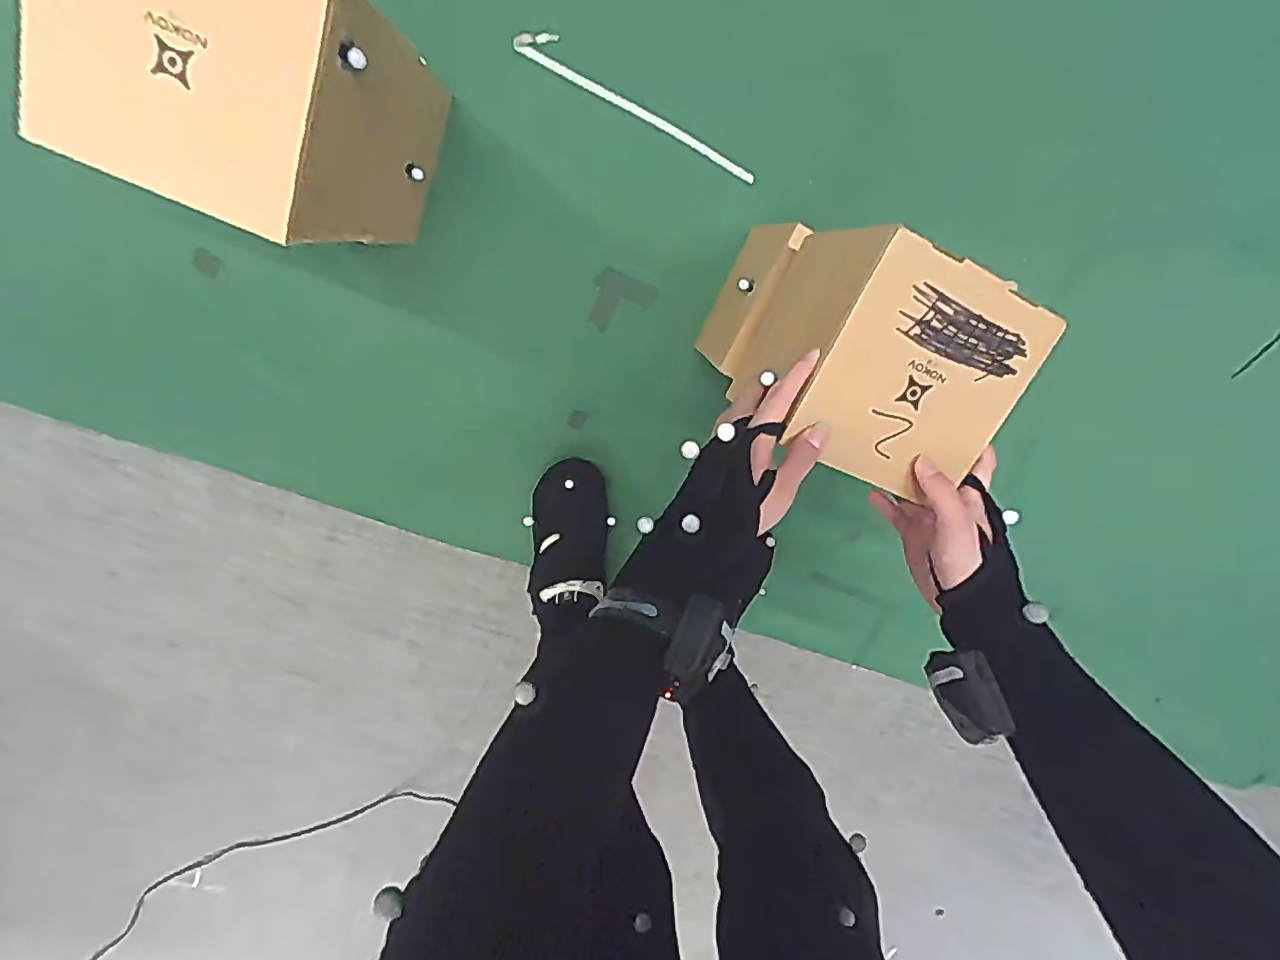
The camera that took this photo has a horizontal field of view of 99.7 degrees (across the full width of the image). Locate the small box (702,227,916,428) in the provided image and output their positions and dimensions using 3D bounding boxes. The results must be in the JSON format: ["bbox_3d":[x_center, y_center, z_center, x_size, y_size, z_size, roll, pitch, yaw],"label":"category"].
[{"bbox_3d":[0.194,-0.197,0.686,0.168,0.176,0.179,22,110,-14],"label":"small box"}]

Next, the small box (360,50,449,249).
[{"bbox_3d":[-0.315,-0.364,0.566,0.168,0.176,0.179,21,111,-13],"label":"small box"}]

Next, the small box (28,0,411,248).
[{"bbox_3d":[-0.299,-0.298,0.419,0.168,0.176,0.179,20,109,-13],"label":"small box"}]
